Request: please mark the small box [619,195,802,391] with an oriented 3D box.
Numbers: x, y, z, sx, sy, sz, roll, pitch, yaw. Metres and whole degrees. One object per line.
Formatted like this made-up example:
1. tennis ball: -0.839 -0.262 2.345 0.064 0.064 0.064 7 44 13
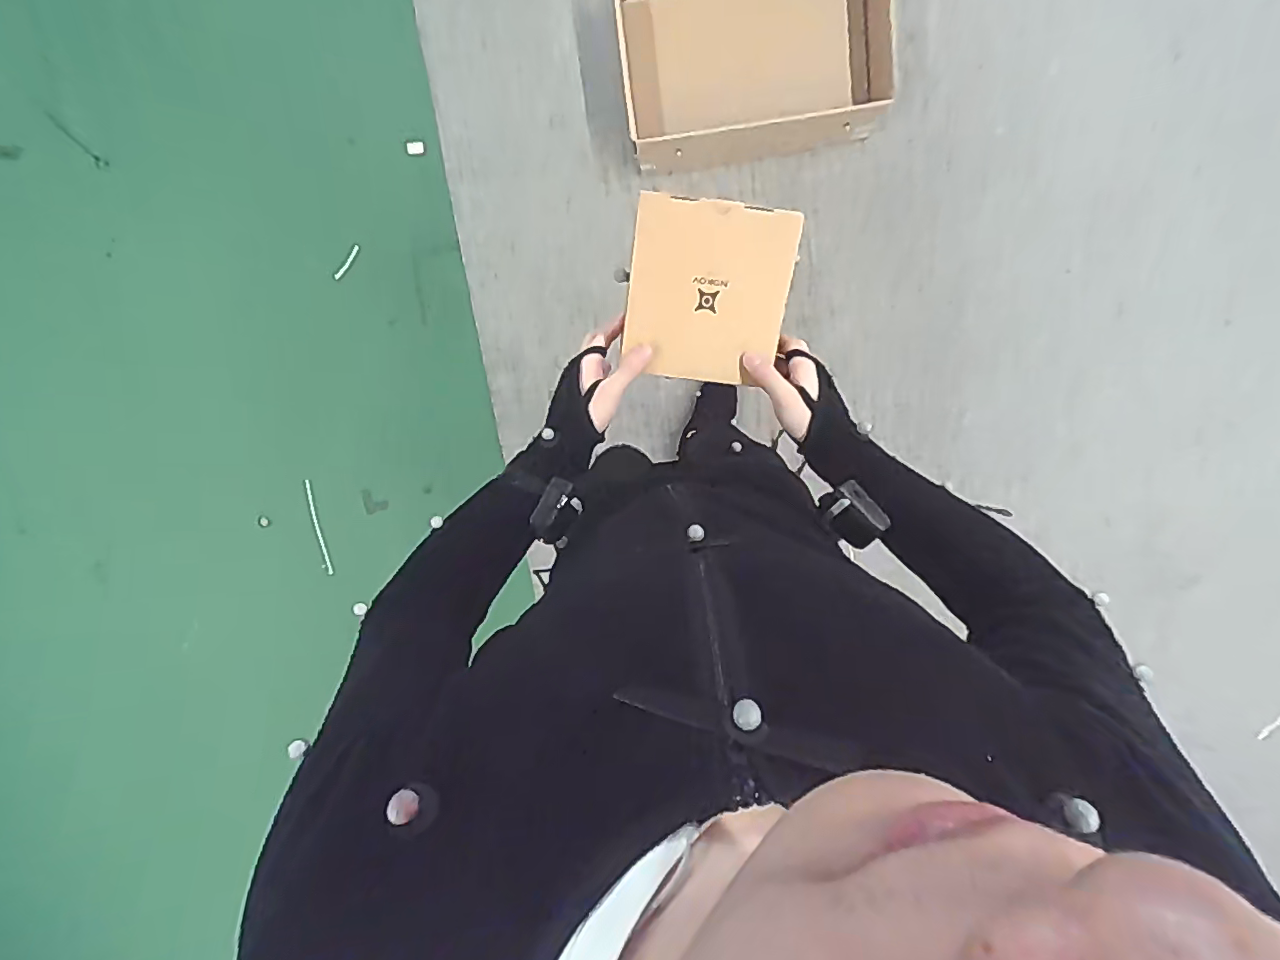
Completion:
1. small box: 0.068 -0.213 0.624 0.168 0.176 0.179 5 110 -3
